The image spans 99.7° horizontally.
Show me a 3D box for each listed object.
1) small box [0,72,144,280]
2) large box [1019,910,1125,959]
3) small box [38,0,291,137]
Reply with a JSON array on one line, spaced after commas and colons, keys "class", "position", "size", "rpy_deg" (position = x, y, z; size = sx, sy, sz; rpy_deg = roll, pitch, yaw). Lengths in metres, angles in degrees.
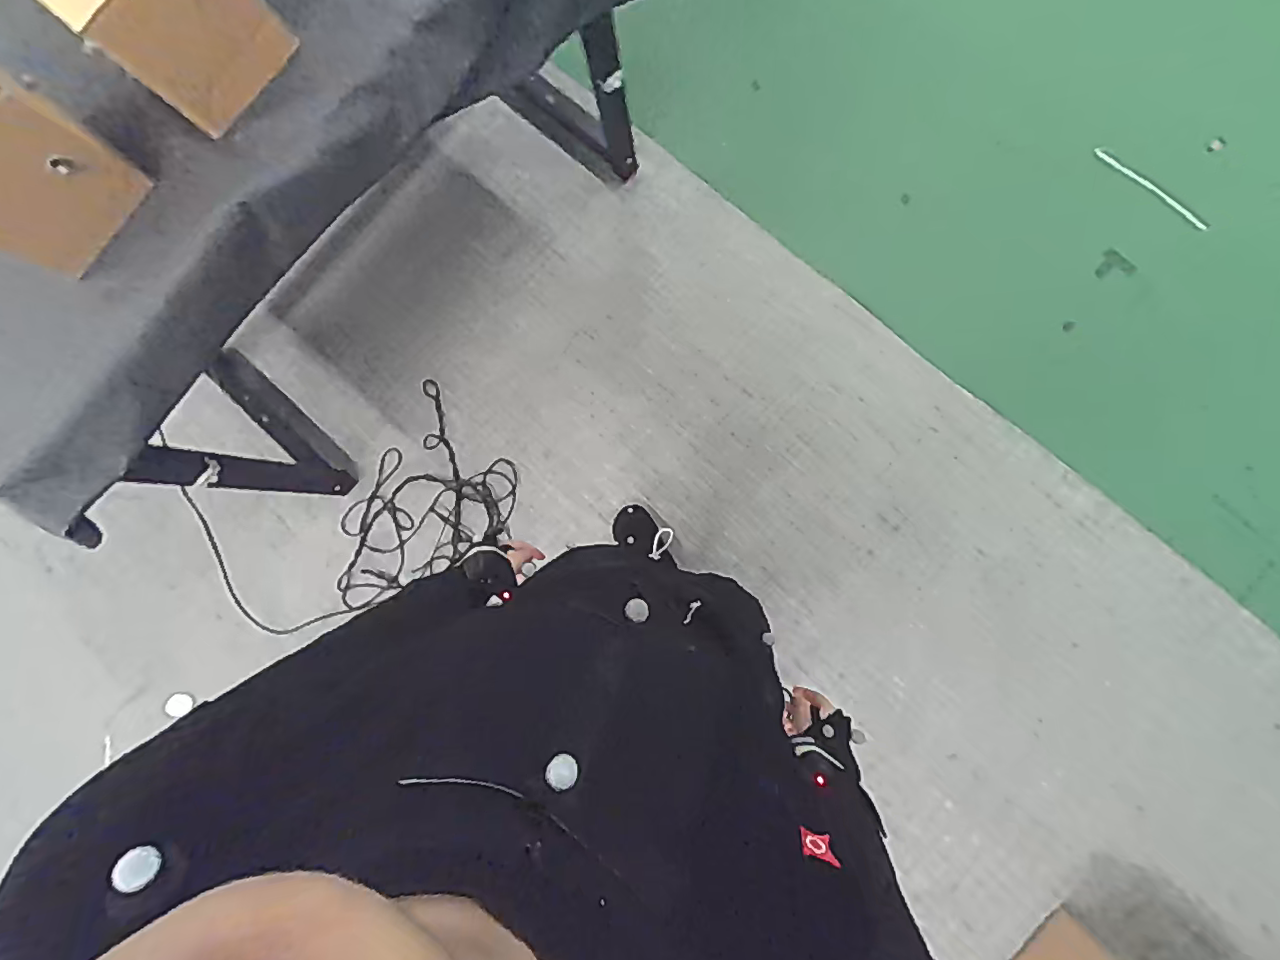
[{"class": "small box", "position": [-0.777, -0.387, 0.664], "size": [0.168, 0.176, 0.179], "rpy_deg": [38, 91, 9]}, {"class": "large box", "position": [0.910, 1.178, 1.031], "size": [0.320, 0.320, 0.408], "rpy_deg": [39, 91, 8]}, {"class": "small box", "position": [-0.583, -0.575, 0.661], "size": [0.168, 0.176, 0.179], "rpy_deg": [40, 89, 8]}]
